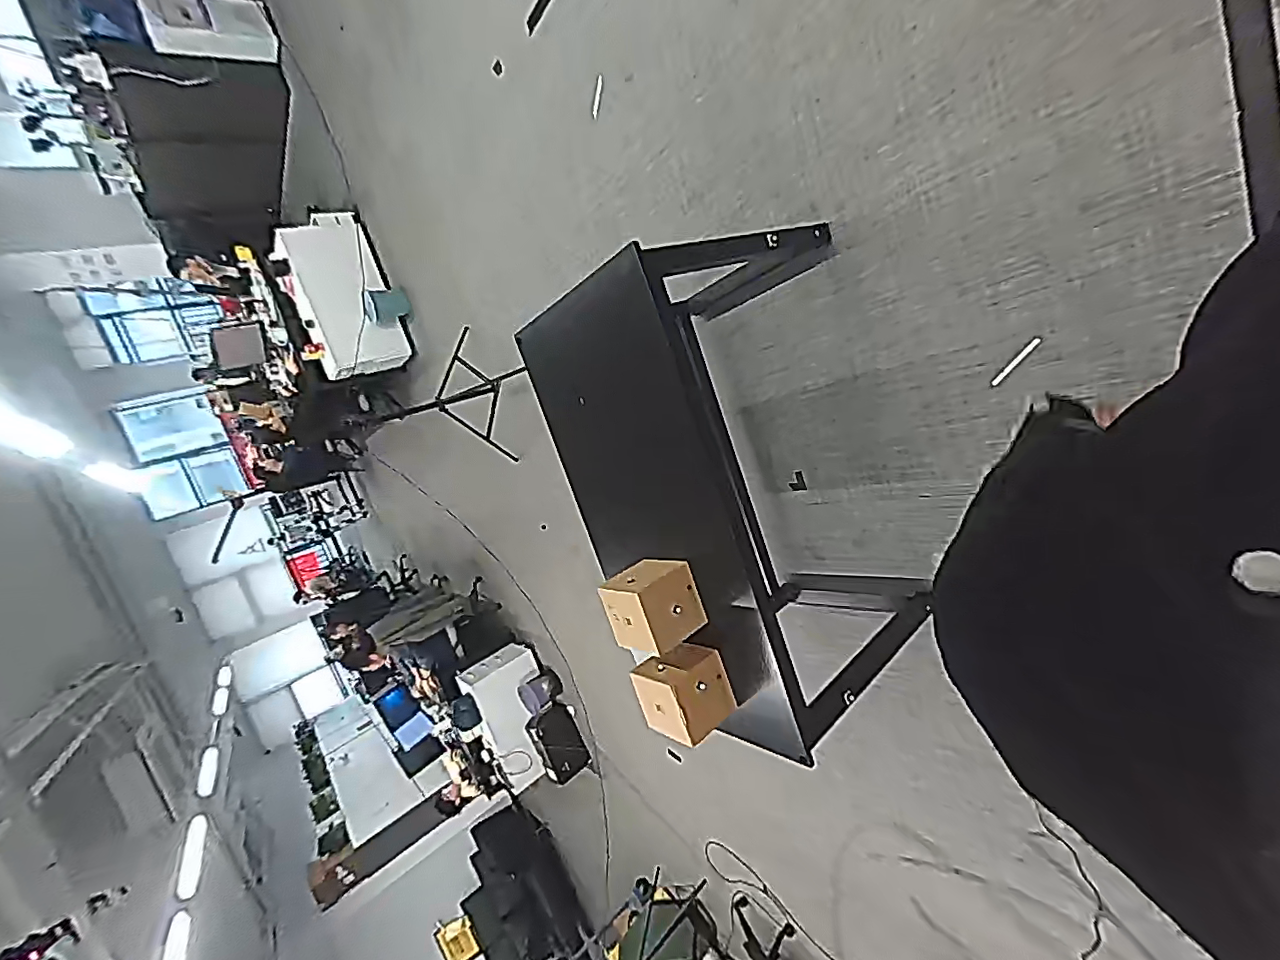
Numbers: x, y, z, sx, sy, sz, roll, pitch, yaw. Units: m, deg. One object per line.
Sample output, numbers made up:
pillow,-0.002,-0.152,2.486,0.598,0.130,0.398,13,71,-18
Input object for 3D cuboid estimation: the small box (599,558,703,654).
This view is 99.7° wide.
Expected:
small box,0.034,0.303,1.335,0.179,0.176,0.168,-8,103,54

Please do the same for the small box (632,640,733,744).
small box,0.115,0.525,1.370,0.179,0.176,0.168,-9,102,55
